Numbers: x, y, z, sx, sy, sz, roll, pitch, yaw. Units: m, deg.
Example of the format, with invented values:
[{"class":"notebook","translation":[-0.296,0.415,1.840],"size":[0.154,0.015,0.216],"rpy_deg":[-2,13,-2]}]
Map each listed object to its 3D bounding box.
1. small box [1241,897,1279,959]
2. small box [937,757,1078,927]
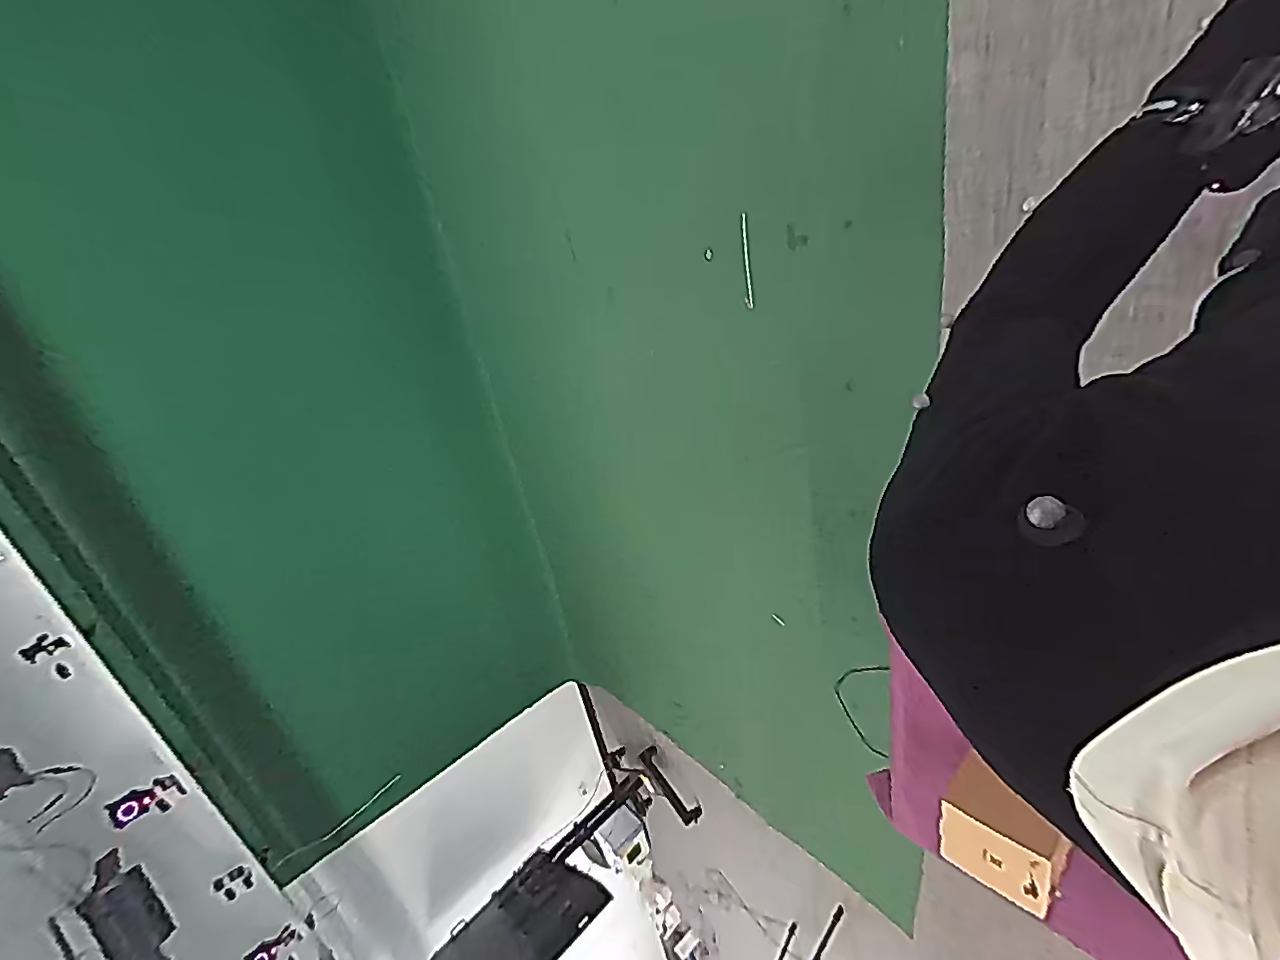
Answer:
[{"class":"small box","translation":[0.946,0.733,0.736],"size":[0.168,0.176,0.179],"rpy_deg":[13,124,48]},{"class":"small box","translation":[0.691,0.667,1.024],"size":[0.179,0.176,0.168],"rpy_deg":[15,125,47]}]
